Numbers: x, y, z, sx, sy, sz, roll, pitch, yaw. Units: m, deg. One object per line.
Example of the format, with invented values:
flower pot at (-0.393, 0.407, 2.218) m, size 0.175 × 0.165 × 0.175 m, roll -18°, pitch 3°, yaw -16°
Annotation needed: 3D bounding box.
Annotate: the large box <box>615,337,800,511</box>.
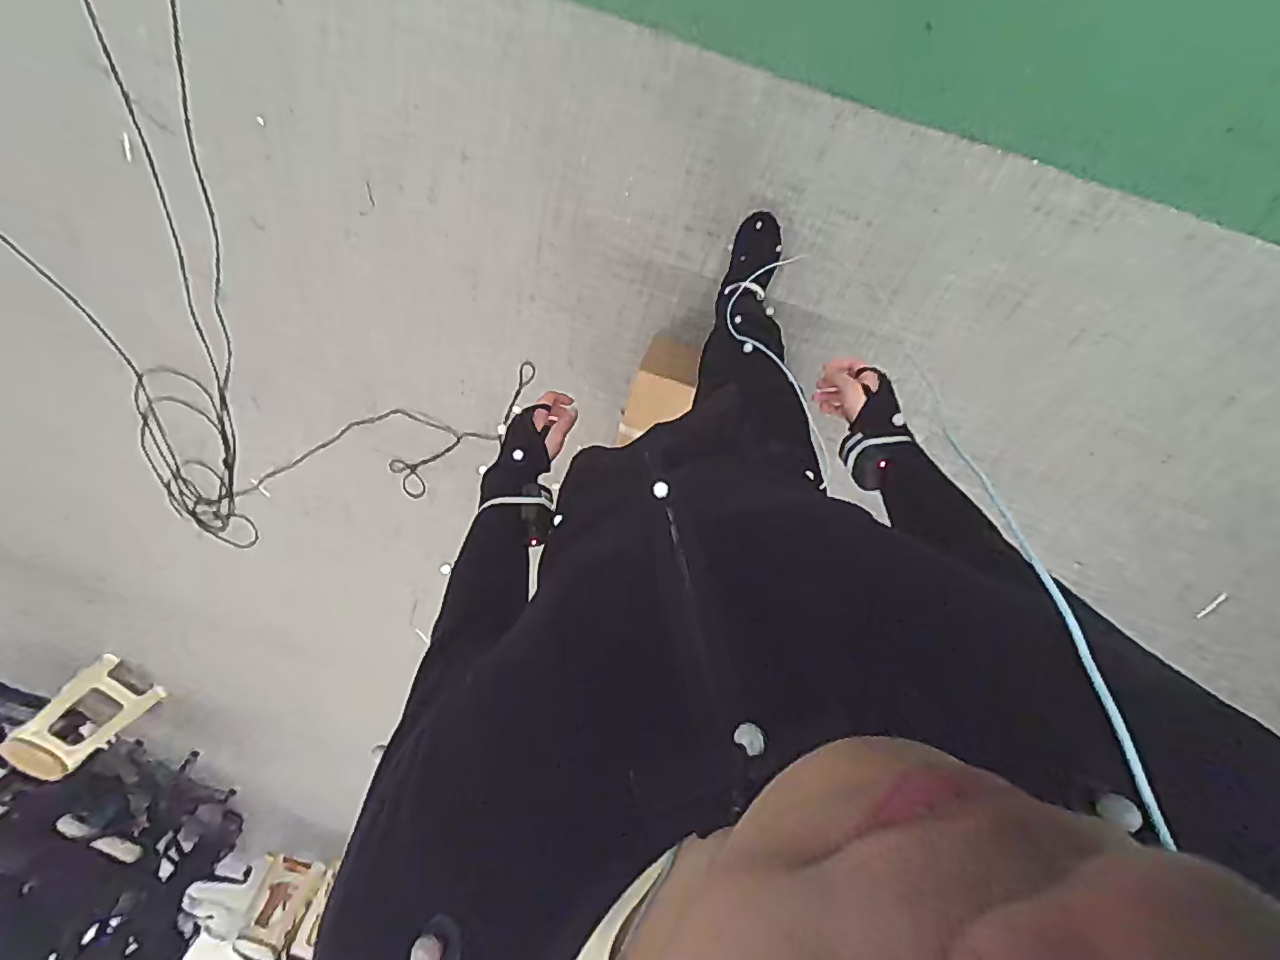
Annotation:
large box at (0.174, -0.165, 1.484) m, size 0.408 × 0.320 × 0.320 m, roll 16°, pitch 121°, yaw 0°
